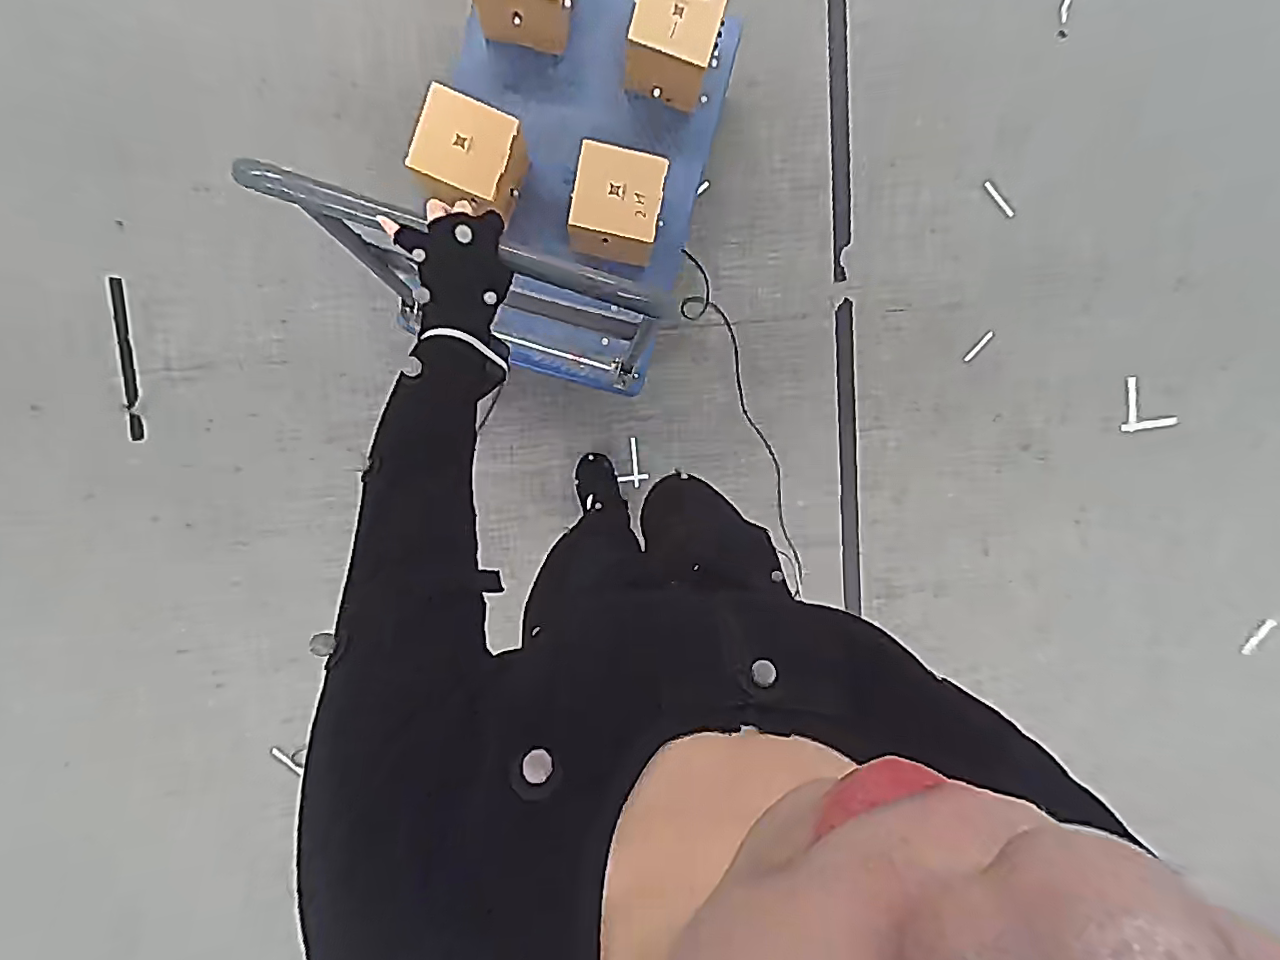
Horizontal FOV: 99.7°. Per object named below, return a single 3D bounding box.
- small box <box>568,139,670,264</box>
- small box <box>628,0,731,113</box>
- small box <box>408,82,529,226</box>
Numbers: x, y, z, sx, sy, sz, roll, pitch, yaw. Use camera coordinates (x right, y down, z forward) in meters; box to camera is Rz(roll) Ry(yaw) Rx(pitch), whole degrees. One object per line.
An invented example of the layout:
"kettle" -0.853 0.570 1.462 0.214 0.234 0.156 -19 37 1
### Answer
"small box" -0.047 -0.576 1.143 0.179 0.176 0.168 11 95 -6
"small box" 0.076 -0.915 1.116 0.168 0.176 0.179 17 96 -6
"small box" -0.343 -0.654 1.112 0.179 0.176 0.168 20 94 -8
